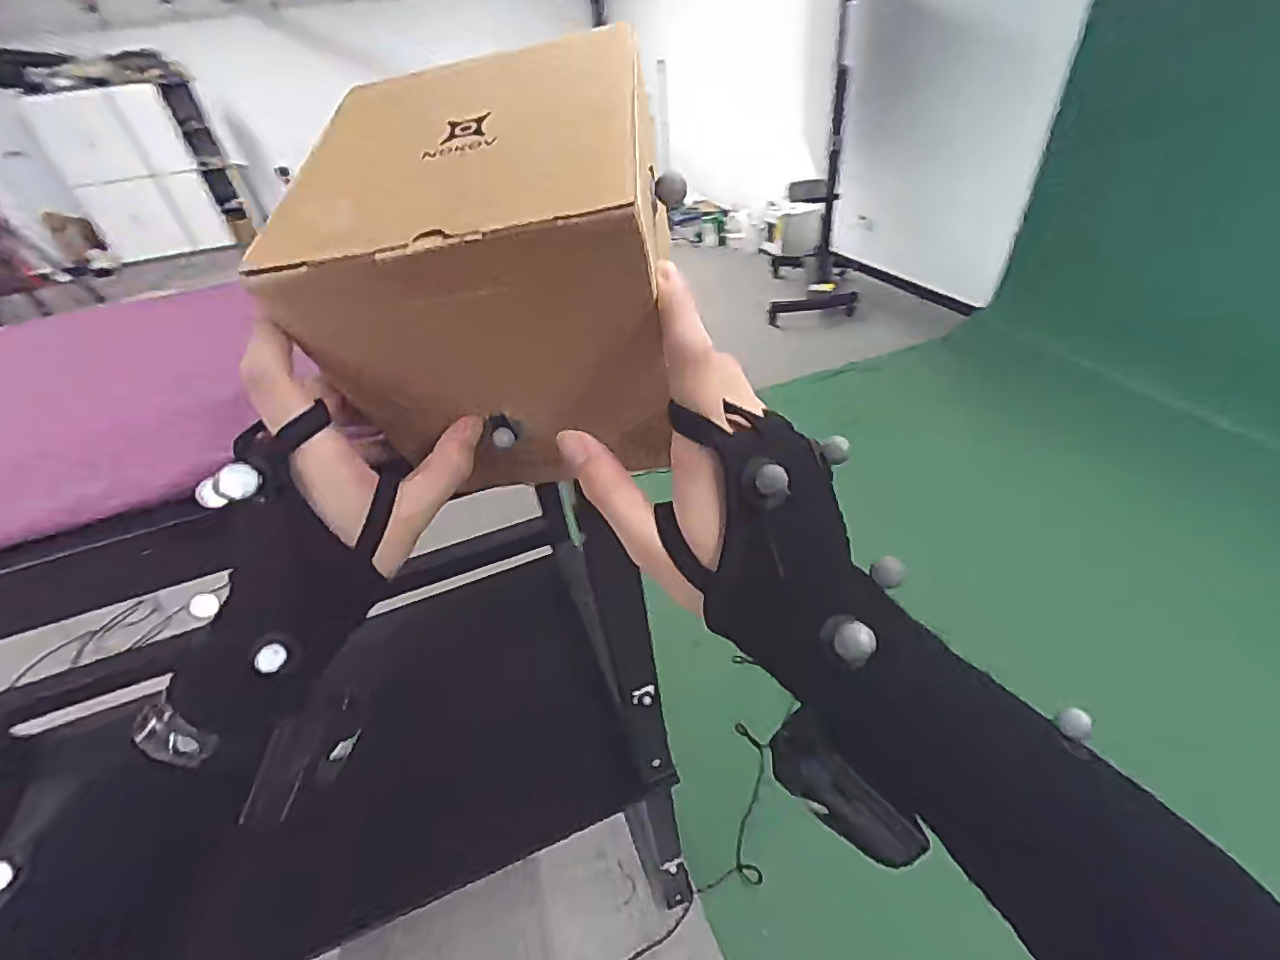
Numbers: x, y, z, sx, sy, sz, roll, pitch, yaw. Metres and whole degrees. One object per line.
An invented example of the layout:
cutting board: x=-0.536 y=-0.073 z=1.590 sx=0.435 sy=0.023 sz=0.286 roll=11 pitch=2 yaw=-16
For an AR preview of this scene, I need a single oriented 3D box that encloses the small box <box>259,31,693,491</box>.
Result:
small box: x=-0.061 y=-0.114 z=0.317 sx=0.168 sy=0.176 sz=0.179 roll=-6 pitch=58 yaw=9
